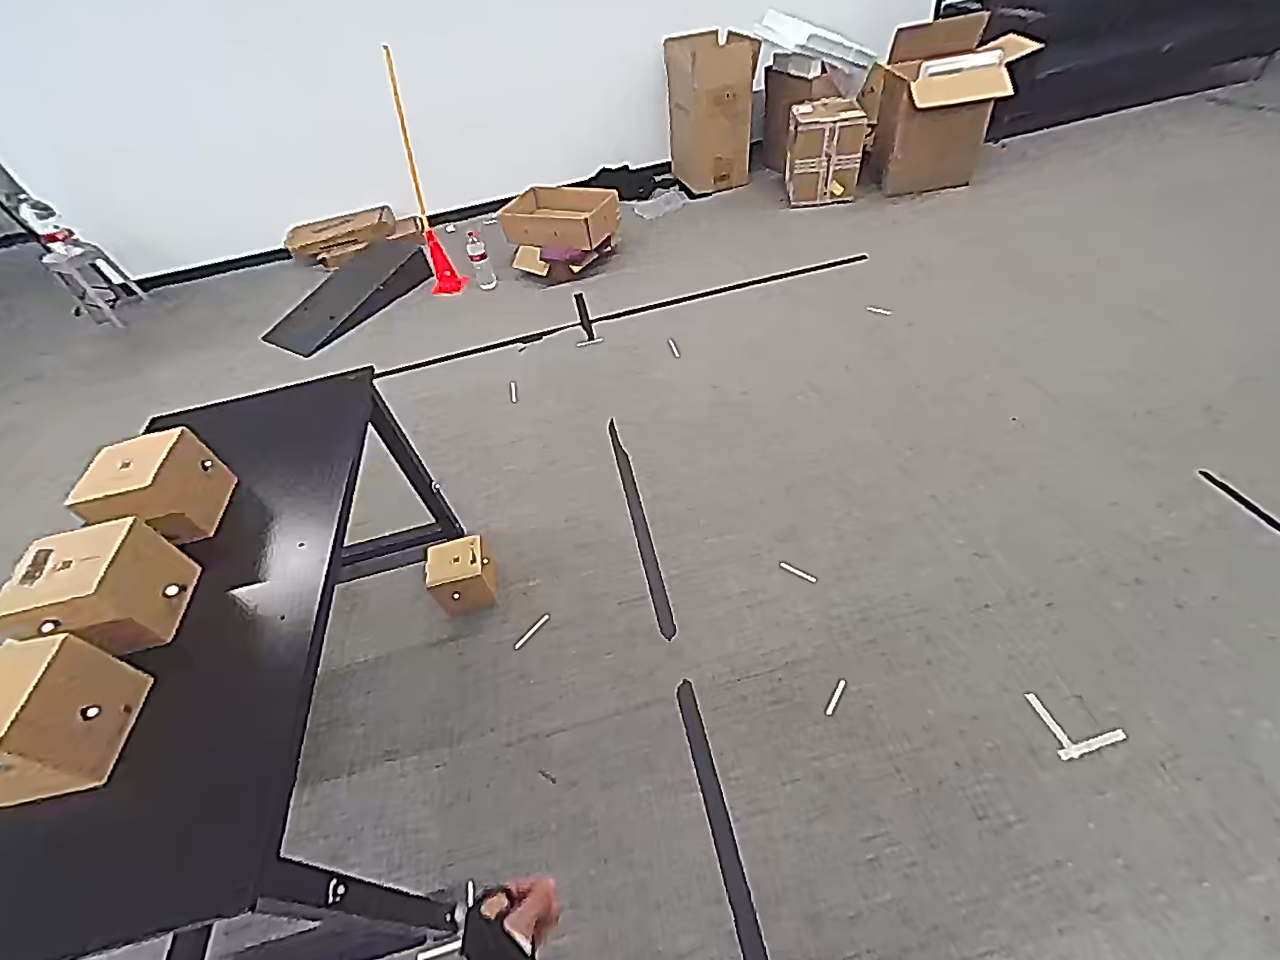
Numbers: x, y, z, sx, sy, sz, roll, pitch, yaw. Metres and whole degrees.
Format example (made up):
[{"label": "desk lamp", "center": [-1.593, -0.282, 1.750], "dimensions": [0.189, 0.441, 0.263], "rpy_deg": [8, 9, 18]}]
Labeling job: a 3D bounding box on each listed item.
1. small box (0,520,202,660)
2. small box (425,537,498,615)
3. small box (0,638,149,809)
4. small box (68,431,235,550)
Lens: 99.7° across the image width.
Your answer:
[{"label": "small box", "center": [-0.937, 0.202, 0.948], "dimensions": [0.179, 0.176, 0.168], "rpy_deg": [-14, 46, -5]}, {"label": "small box", "center": [-0.583, 0.319, 1.778], "dimensions": [0.179, 0.176, 0.168], "rpy_deg": [-15, 47, -3]}, {"label": "small box", "center": [-0.895, 0.360, 0.794], "dimensions": [0.179, 0.176, 0.168], "rpy_deg": [-12, 46, -1]}, {"label": "small box", "center": [-0.990, 0.031, 1.120], "dimensions": [0.168, 0.176, 0.179], "rpy_deg": [-16, 47, -2]}]
